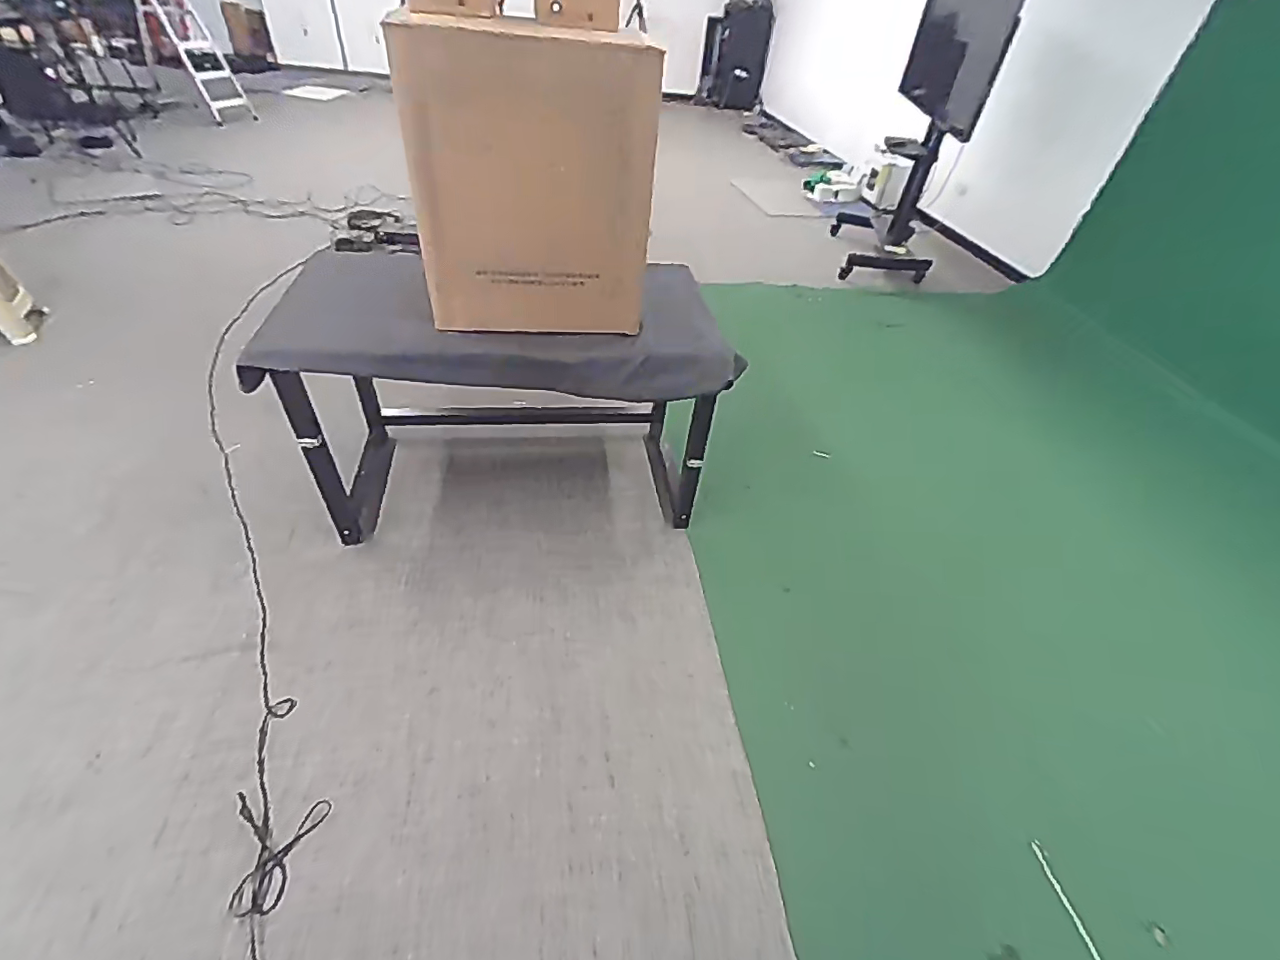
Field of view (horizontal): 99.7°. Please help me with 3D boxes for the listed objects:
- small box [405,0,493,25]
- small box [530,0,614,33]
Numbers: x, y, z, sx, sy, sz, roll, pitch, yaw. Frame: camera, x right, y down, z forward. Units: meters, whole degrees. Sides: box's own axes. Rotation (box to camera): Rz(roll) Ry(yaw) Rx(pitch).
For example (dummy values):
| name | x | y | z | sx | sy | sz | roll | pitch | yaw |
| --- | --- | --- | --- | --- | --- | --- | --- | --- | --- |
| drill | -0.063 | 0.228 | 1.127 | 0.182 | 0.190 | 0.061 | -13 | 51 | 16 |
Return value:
| name | x | y | z | sx | sy | sz | roll | pitch | yaw |
| --- | --- | --- | --- | --- | --- | --- | --- | --- | --- |
| small box | -0.391 | -1.035 | 1.084 | 0.168 | 0.176 | 0.179 | -4 | 44 | -9 |
| small box | -0.144 | -1.049 | 1.123 | 0.168 | 0.176 | 0.179 | -5 | 45 | -12 |
